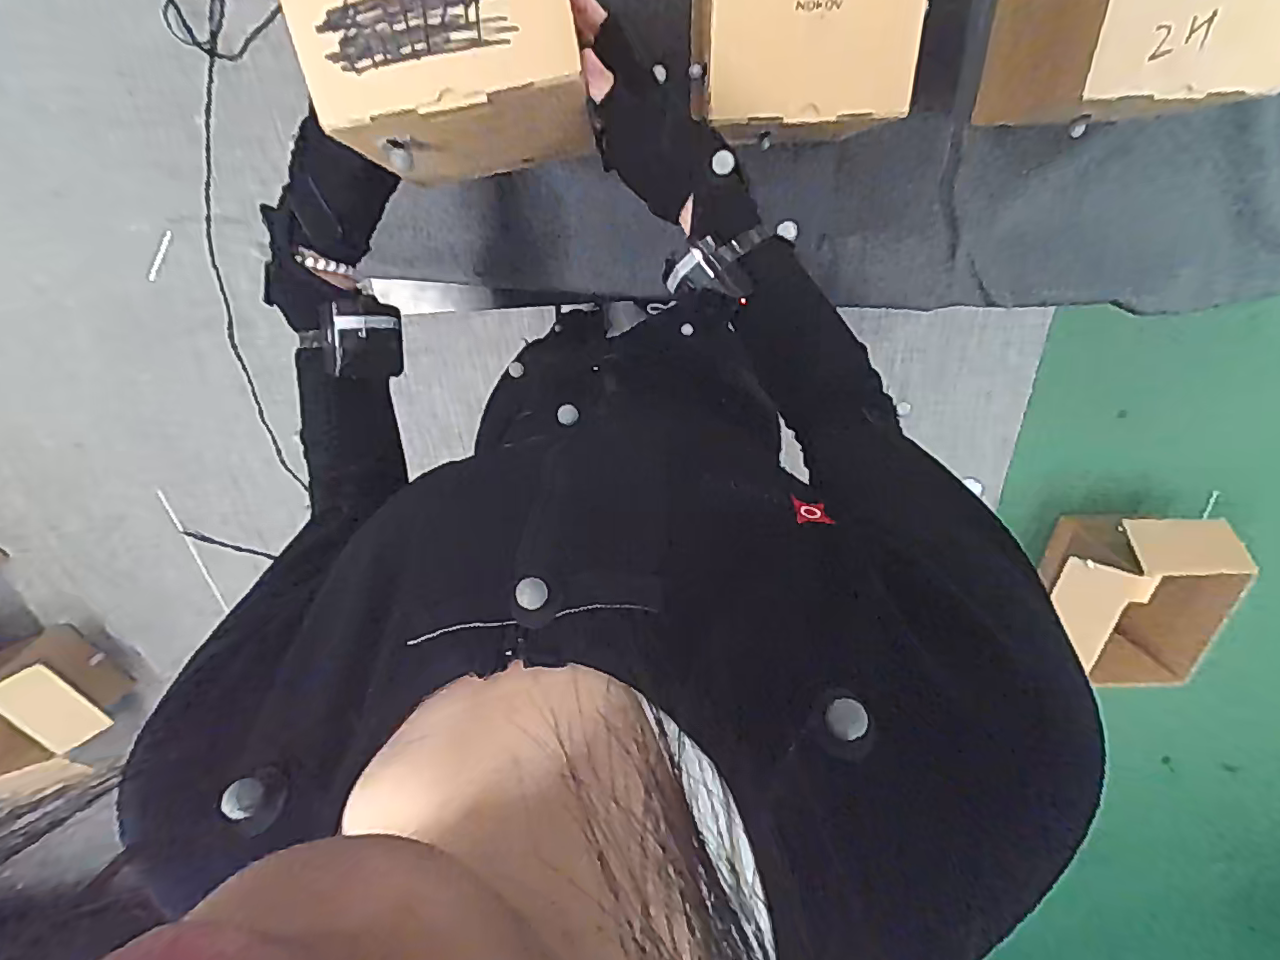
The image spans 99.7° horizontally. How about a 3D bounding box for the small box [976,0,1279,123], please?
[{"bbox_3d":[0.435,-0.429,0.474,0.168,0.176,0.179,-2,118,0],"label":"small box"}]
